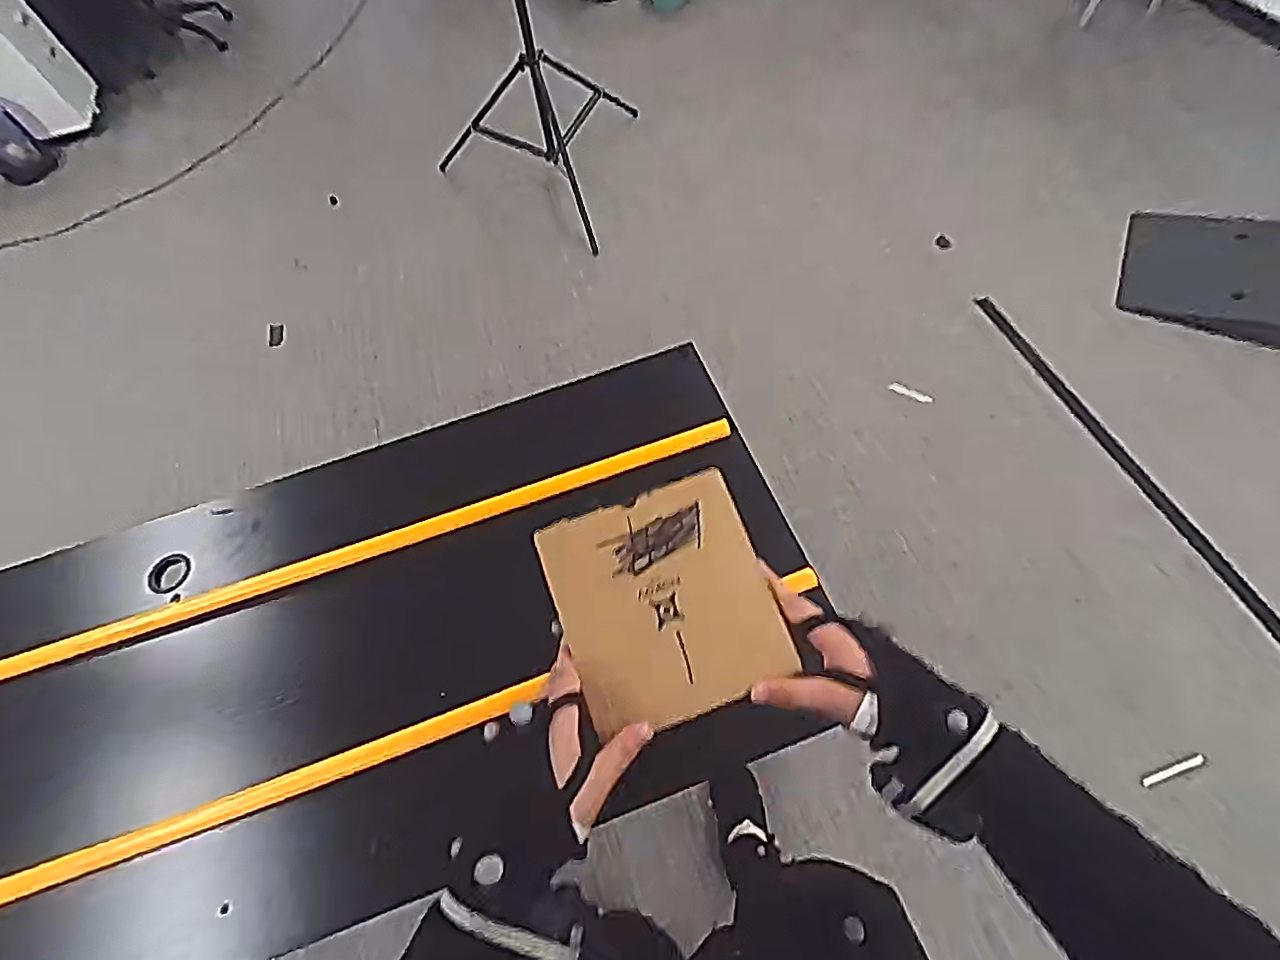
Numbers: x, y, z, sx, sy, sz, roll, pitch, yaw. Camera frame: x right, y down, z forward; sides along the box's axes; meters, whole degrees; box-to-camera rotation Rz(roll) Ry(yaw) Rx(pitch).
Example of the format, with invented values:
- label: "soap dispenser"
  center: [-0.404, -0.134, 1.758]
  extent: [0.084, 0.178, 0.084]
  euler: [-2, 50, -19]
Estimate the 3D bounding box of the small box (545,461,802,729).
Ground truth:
- label: "small box"
  center: [0.021, 0.108, 0.510]
  extent: [0.168, 0.176, 0.179]
  euler: [-19, 75, -6]
